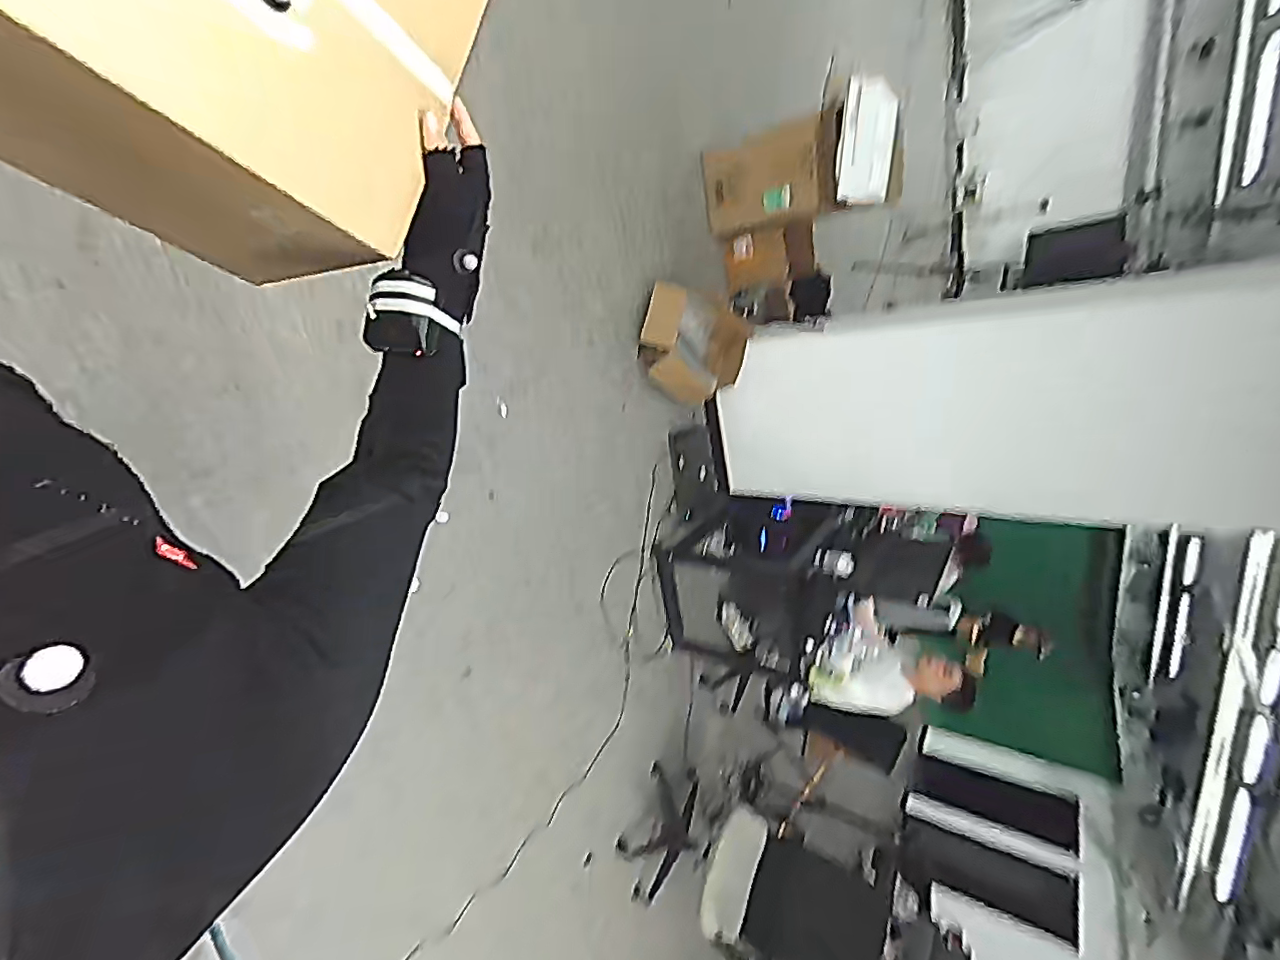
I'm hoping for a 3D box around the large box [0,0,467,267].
[{"bbox_3d":[-0.411,-0.418,0.413,0.408,0.320,0.320,23,80,-54],"label":"large box"}]
